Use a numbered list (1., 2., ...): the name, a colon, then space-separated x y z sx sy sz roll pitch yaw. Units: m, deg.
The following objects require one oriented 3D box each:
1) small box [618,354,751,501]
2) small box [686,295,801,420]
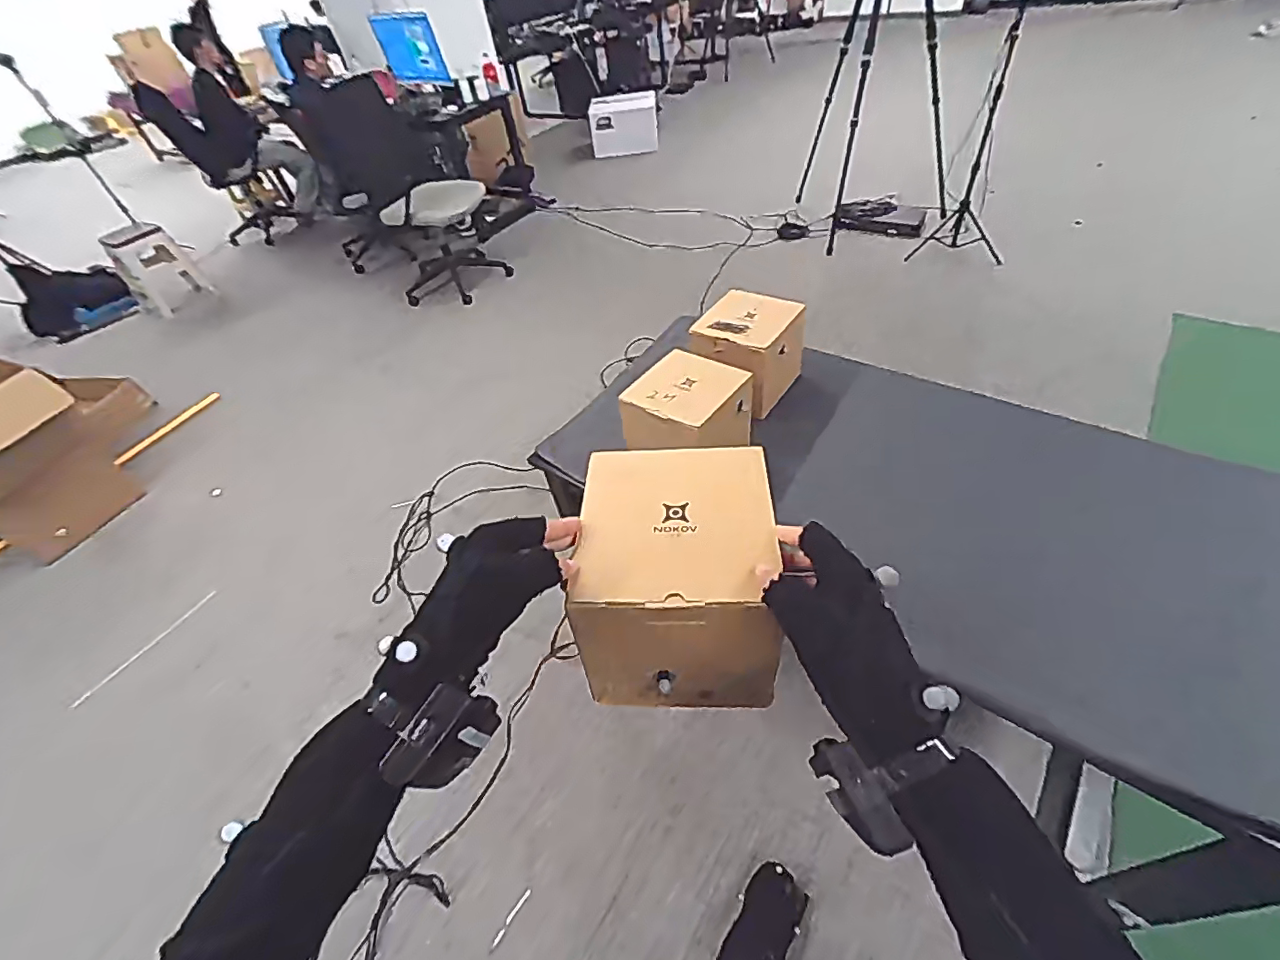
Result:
1. small box: 0.082 -0.096 0.979 0.168 0.176 0.179 26 54 29
2. small box: 0.212 -0.249 1.105 0.168 0.176 0.179 24 54 28
